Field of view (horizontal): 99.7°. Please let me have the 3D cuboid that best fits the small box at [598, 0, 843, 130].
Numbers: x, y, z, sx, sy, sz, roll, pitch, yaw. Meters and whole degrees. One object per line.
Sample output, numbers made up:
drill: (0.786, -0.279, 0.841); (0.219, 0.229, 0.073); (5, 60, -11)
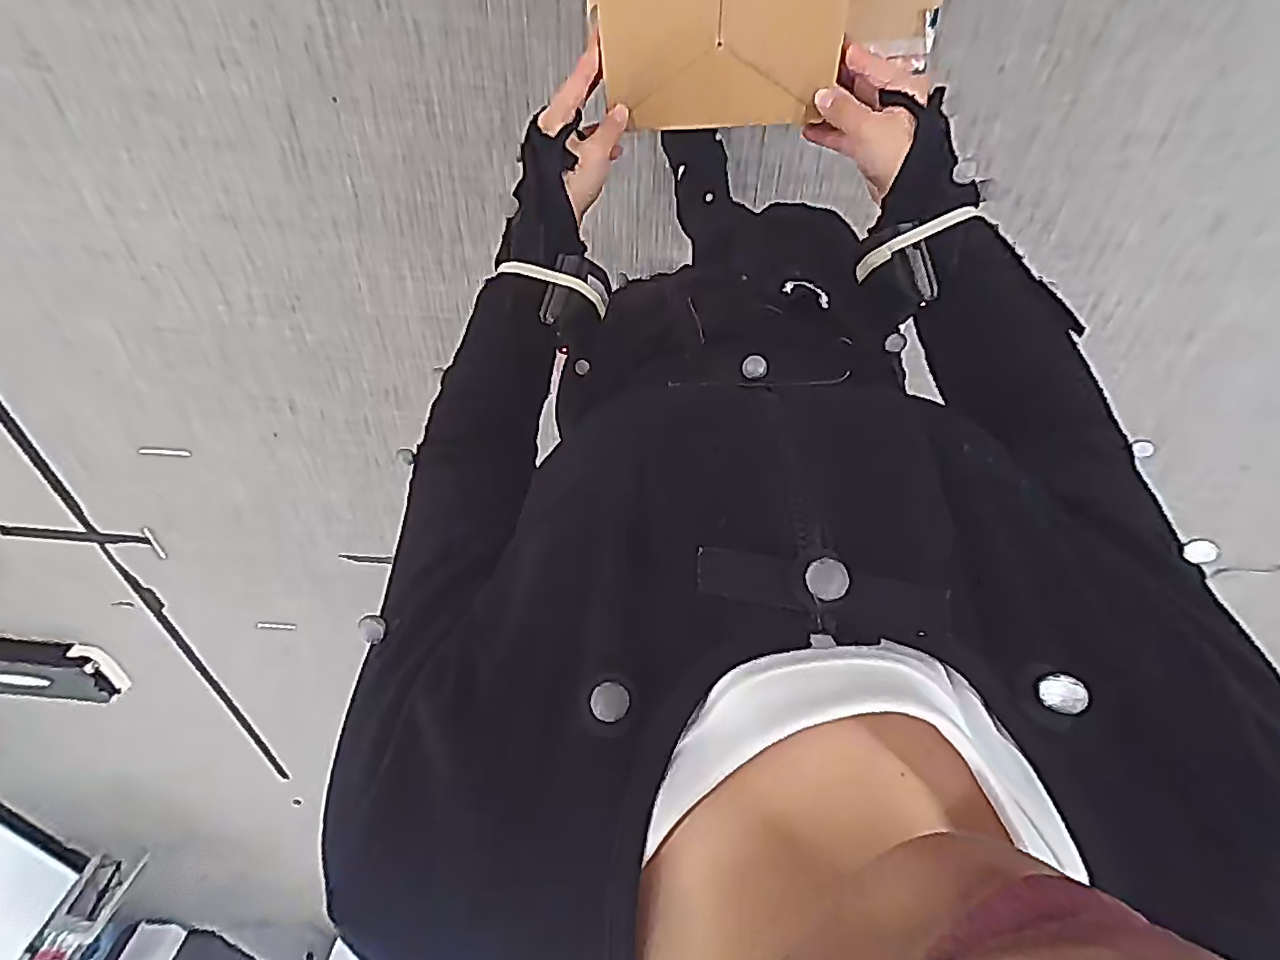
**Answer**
small box: (0.057, -0.396, 0.427); (0.179, 0.176, 0.168); (0, 138, 4)
